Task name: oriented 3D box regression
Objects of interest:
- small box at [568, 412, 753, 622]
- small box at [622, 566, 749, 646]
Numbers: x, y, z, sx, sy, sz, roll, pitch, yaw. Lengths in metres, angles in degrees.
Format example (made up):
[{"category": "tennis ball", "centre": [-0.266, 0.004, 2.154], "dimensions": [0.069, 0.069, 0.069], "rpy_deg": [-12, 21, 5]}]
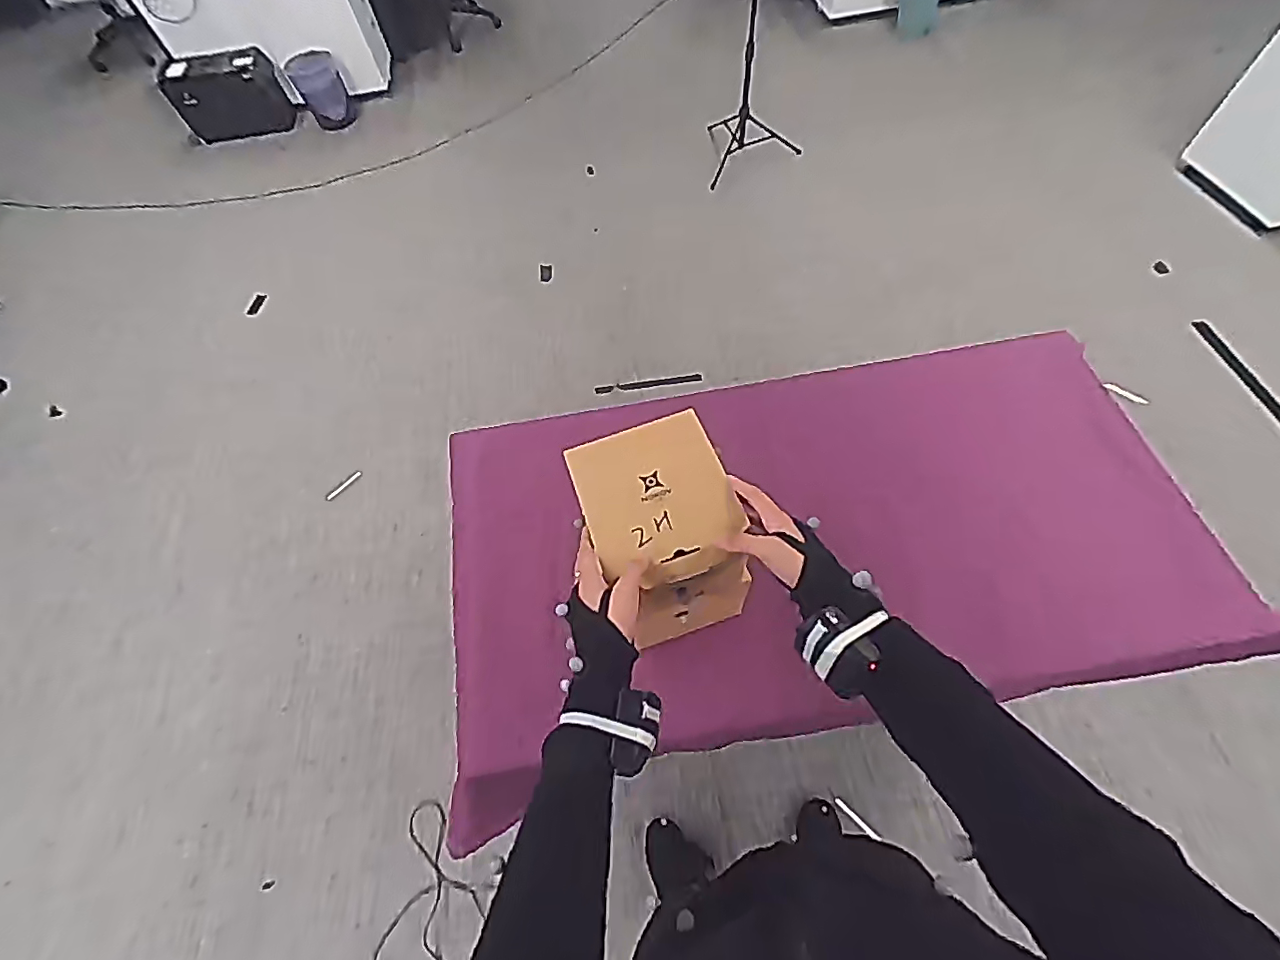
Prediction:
[{"category": "small box", "centre": [0.022, 0.051, 0.670], "dimensions": [0.168, 0.176, 0.179], "rpy_deg": [-19, 61, -5]}, {"category": "small box", "centre": [0.046, 0.133, 0.812], "dimensions": [0.179, 0.176, 0.168], "rpy_deg": [-18, 61, -6]}]
